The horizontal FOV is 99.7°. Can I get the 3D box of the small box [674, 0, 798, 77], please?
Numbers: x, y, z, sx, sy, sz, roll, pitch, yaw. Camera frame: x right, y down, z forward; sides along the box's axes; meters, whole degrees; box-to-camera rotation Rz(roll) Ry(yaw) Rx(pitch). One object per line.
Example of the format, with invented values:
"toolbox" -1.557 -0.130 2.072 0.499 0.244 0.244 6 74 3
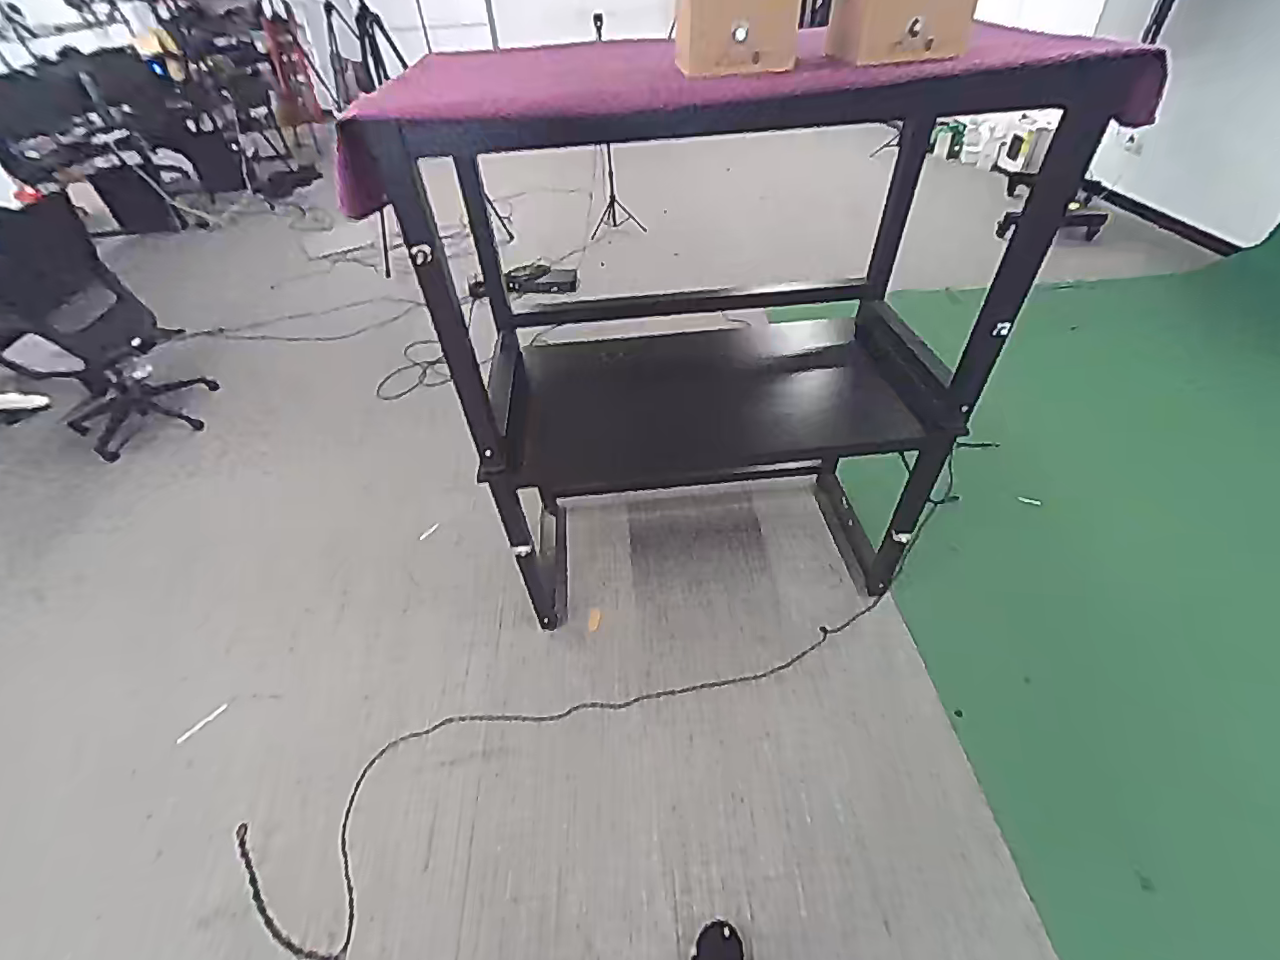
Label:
"small box" 0.143 -0.741 0.841 0.168 0.176 0.179 -5 44 -1
